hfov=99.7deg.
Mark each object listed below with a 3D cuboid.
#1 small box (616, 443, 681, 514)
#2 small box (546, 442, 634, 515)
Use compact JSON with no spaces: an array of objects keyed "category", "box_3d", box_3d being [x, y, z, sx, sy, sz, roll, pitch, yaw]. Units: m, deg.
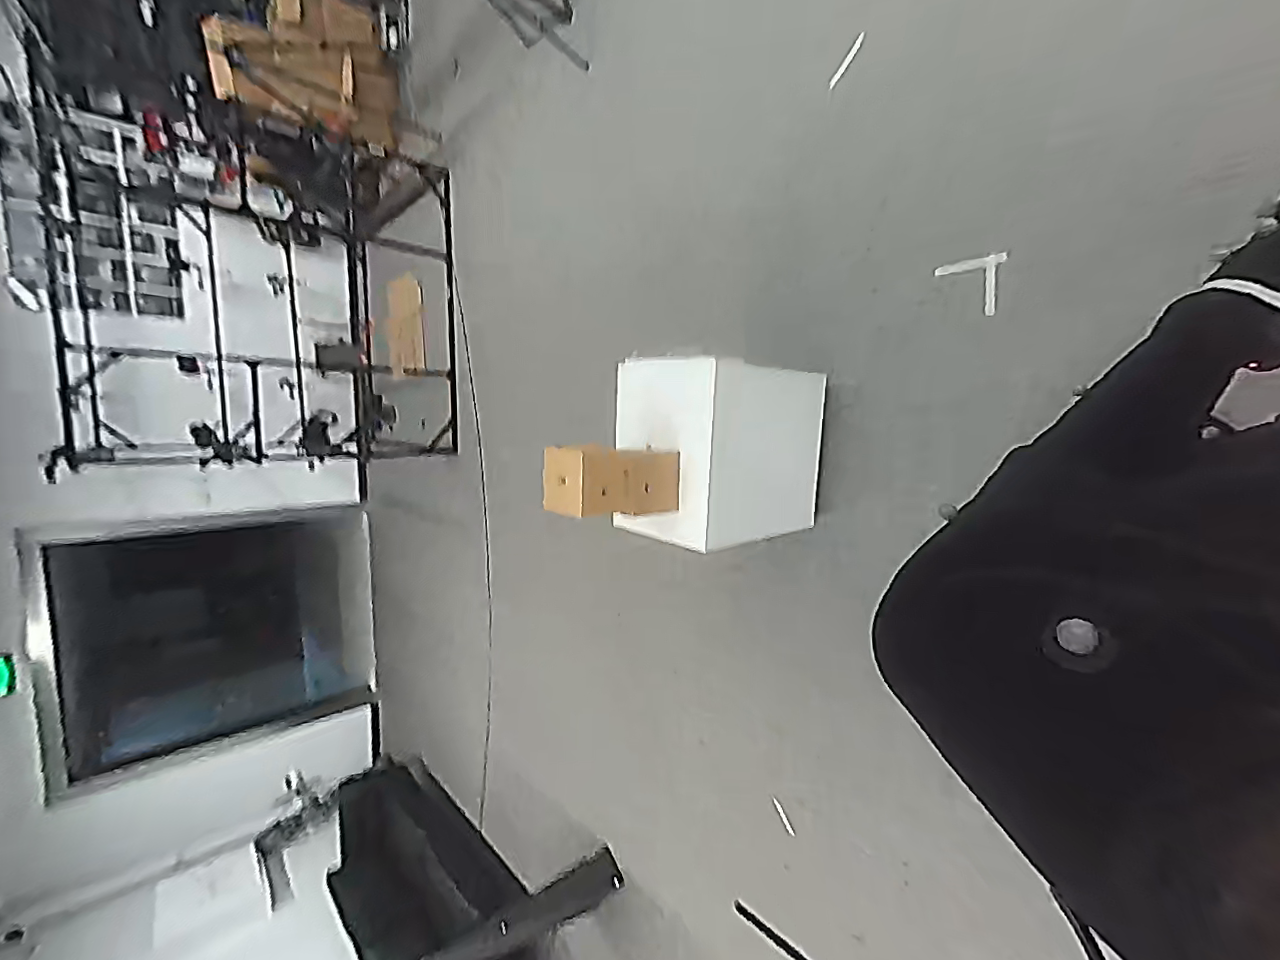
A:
[{"category":"small box","box_3d":[0.000,-0.010,1.509,0.168,0.176,0.179,8,99,47]},{"category":"small box","box_3d":[-0.130,-0.012,1.409,0.179,0.176,0.168,10,101,48]}]
